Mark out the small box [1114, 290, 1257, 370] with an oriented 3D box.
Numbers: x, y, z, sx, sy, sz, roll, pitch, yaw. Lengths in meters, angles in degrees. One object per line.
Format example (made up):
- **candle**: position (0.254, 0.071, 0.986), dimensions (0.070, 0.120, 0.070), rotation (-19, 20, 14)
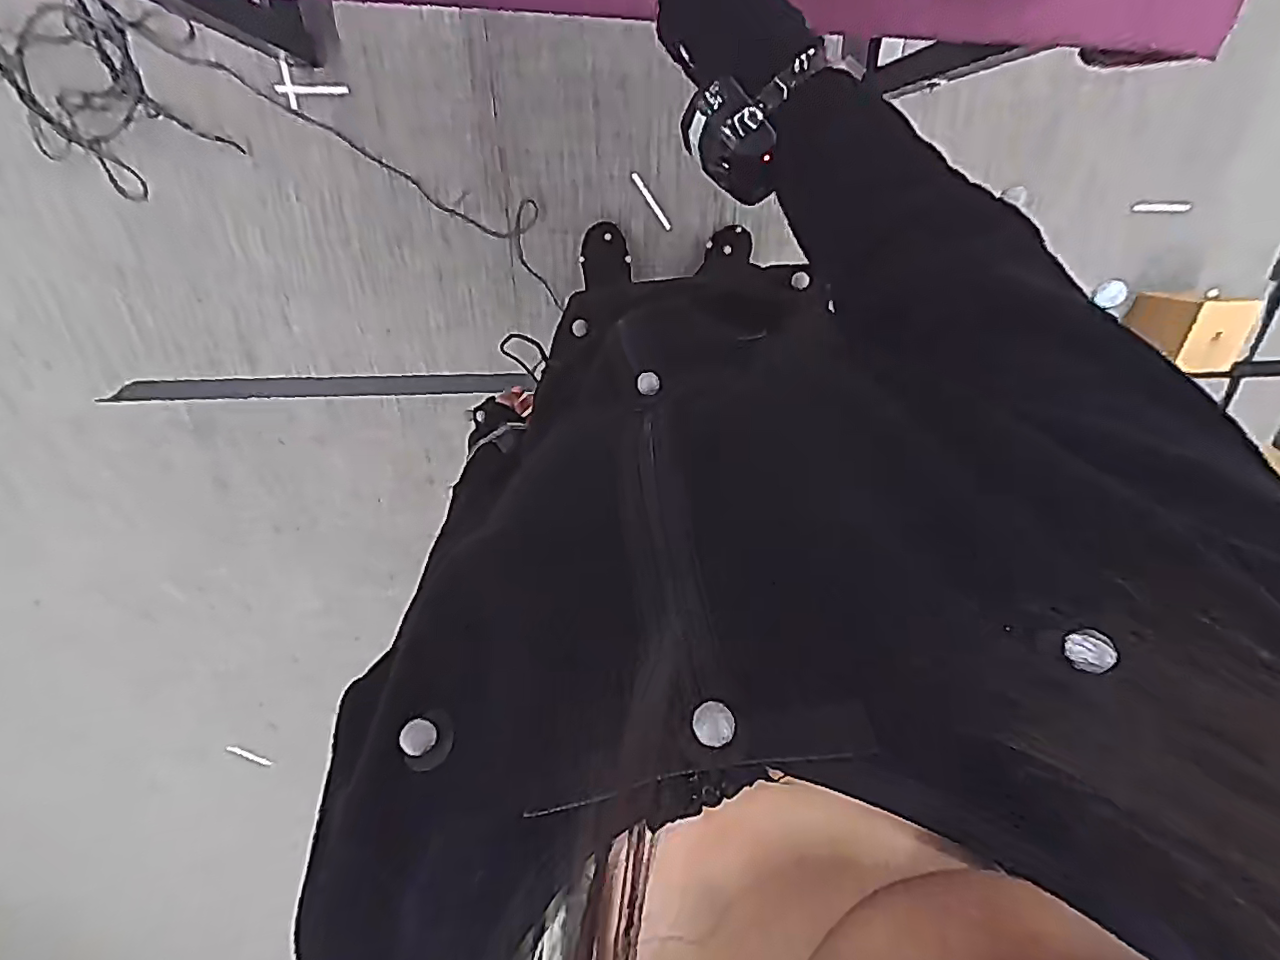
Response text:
- **small box**: position (1.403, -0.395, 1.407), dimensions (0.168, 0.176, 0.179), rotation (-3, 119, -6)
